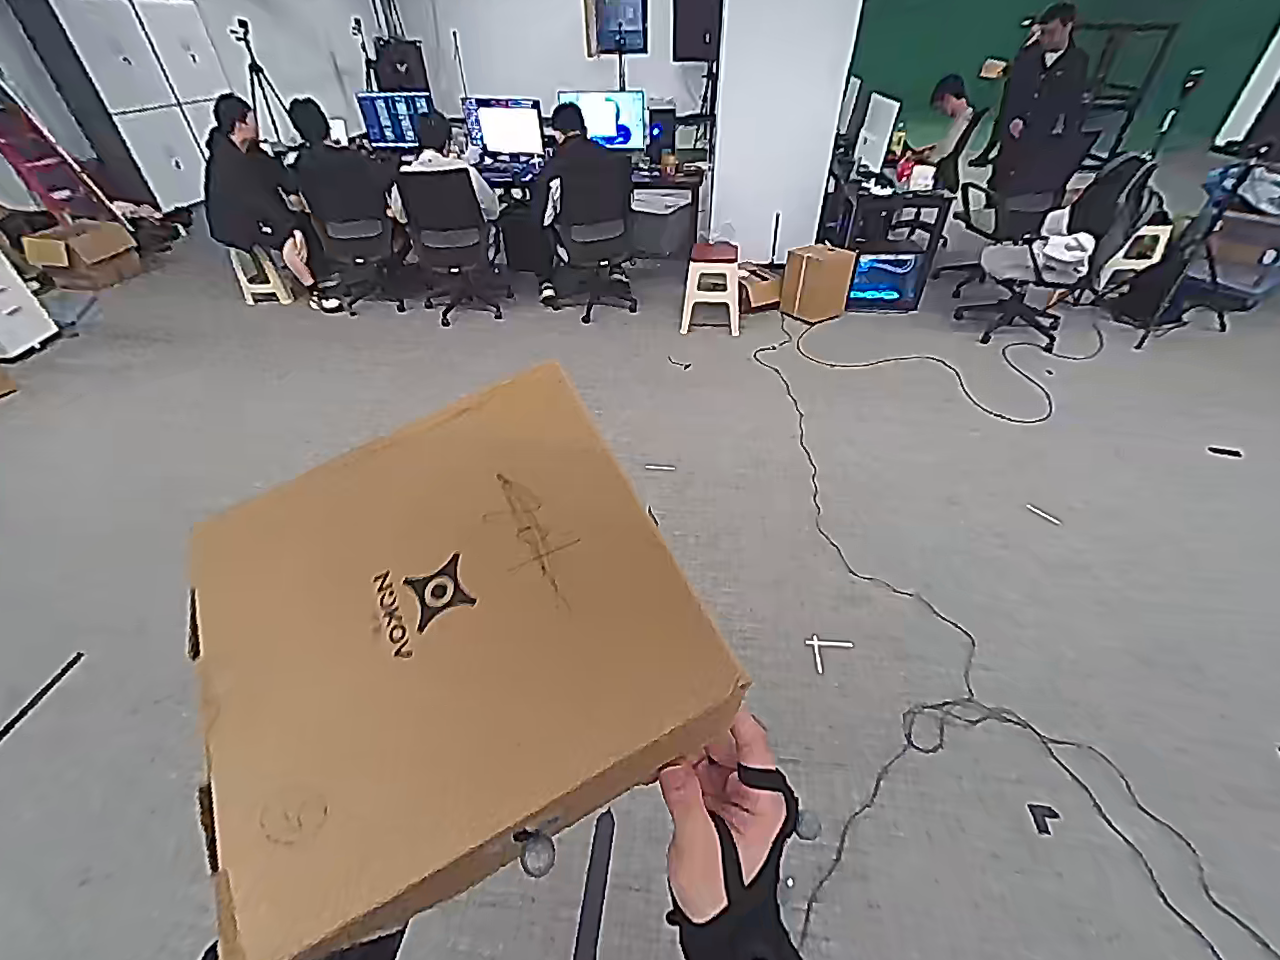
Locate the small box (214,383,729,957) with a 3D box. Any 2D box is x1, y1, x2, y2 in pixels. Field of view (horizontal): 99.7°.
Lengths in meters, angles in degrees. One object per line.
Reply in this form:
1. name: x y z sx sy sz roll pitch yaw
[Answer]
1. small box: -0.069 0.089 0.285 0.179 0.176 0.168 -28 62 -9
